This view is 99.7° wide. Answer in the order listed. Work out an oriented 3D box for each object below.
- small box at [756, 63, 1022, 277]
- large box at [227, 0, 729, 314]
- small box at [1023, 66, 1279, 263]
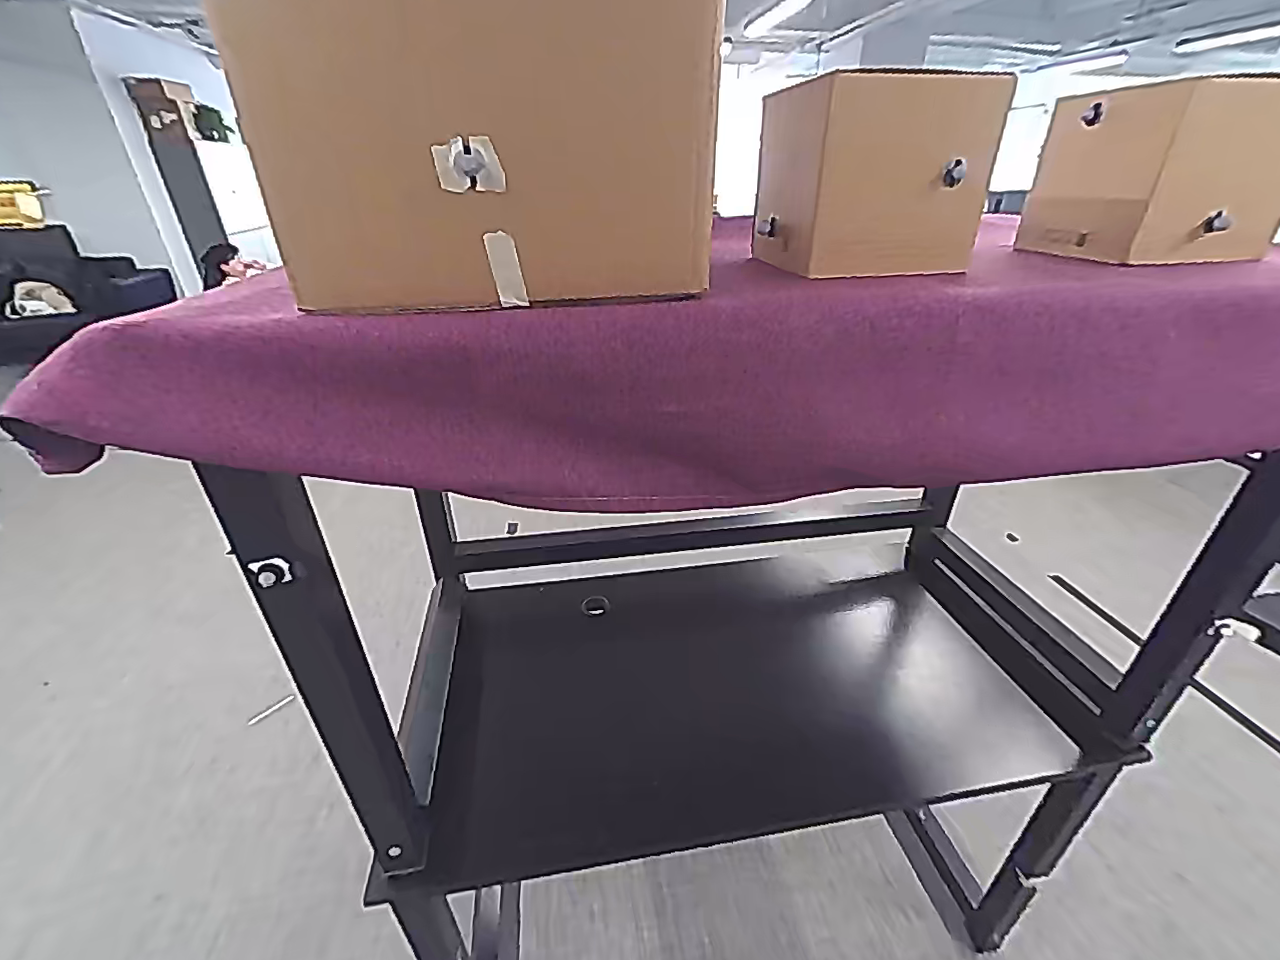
[{"bbox_3d":[0.235,-0.314,0.563,0.179,0.176,0.168,-5,29,-8],"label":"small box"},{"bbox_3d":[-0.129,-0.356,0.506,0.320,0.320,0.408,-5,29,-10],"label":"large box"},{"bbox_3d":[0.586,-0.345,0.609,0.179,0.176,0.168,-4,29,-6],"label":"small box"}]
